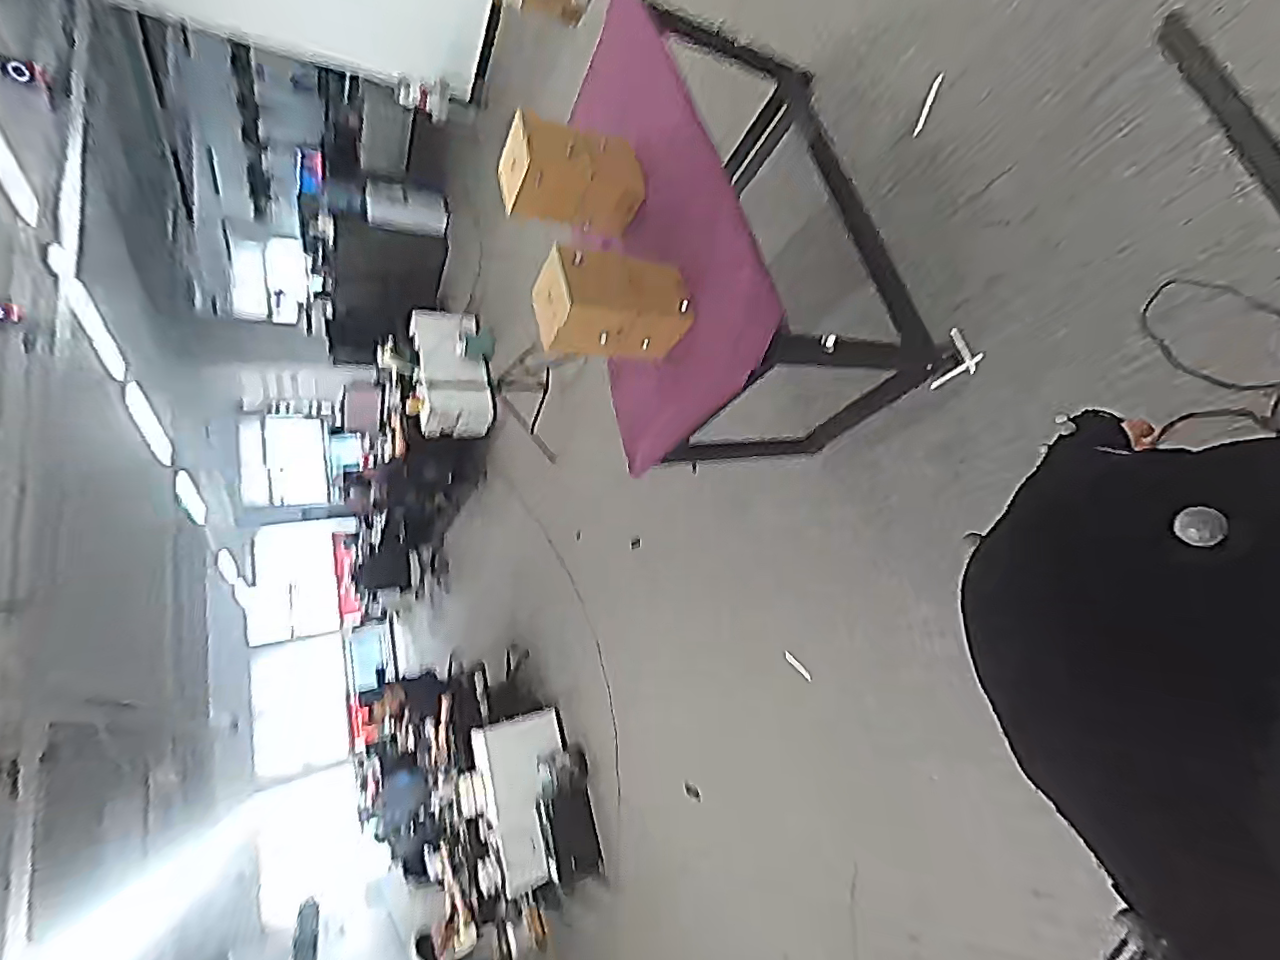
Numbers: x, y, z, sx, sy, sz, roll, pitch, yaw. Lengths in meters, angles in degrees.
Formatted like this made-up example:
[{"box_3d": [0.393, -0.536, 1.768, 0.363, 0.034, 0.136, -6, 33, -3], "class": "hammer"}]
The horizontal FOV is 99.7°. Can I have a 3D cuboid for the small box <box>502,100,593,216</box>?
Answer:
[{"box_3d": [-0.238, -0.807, 1.378, 0.179, 0.176, 0.168, -35, 65, 54], "class": "small box"}]

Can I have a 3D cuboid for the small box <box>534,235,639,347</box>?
[{"box_3d": [-0.125, -0.425, 1.244, 0.168, 0.176, 0.179, -40, 61, 53], "class": "small box"}]

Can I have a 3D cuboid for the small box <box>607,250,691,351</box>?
[{"box_3d": [0.010, -0.436, 1.338, 0.179, 0.176, 0.168, -39, 61, 54], "class": "small box"}]
